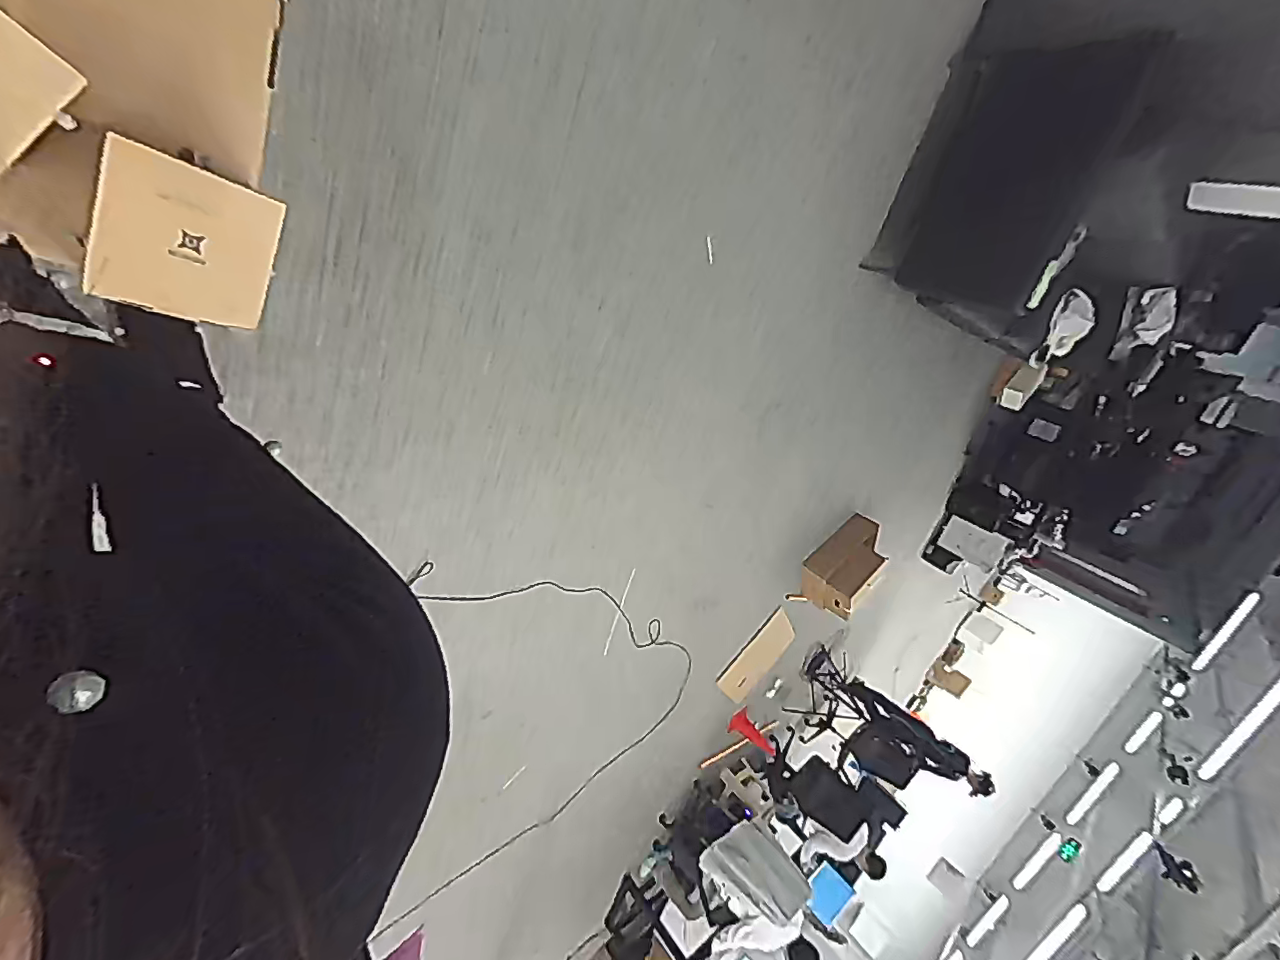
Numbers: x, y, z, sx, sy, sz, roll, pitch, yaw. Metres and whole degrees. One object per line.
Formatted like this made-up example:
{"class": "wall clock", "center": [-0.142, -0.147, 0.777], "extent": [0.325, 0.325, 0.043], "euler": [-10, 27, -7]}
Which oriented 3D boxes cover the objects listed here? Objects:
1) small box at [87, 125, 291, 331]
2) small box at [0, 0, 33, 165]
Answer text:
{"class": "small box", "center": [-0.576, -0.317, 0.688], "extent": [0.168, 0.176, 0.179], "euler": [8, 110, -49]}
{"class": "small box", "center": [-0.693, -0.422, 0.496], "extent": [0.168, 0.176, 0.179], "euler": [8, 109, -47]}
